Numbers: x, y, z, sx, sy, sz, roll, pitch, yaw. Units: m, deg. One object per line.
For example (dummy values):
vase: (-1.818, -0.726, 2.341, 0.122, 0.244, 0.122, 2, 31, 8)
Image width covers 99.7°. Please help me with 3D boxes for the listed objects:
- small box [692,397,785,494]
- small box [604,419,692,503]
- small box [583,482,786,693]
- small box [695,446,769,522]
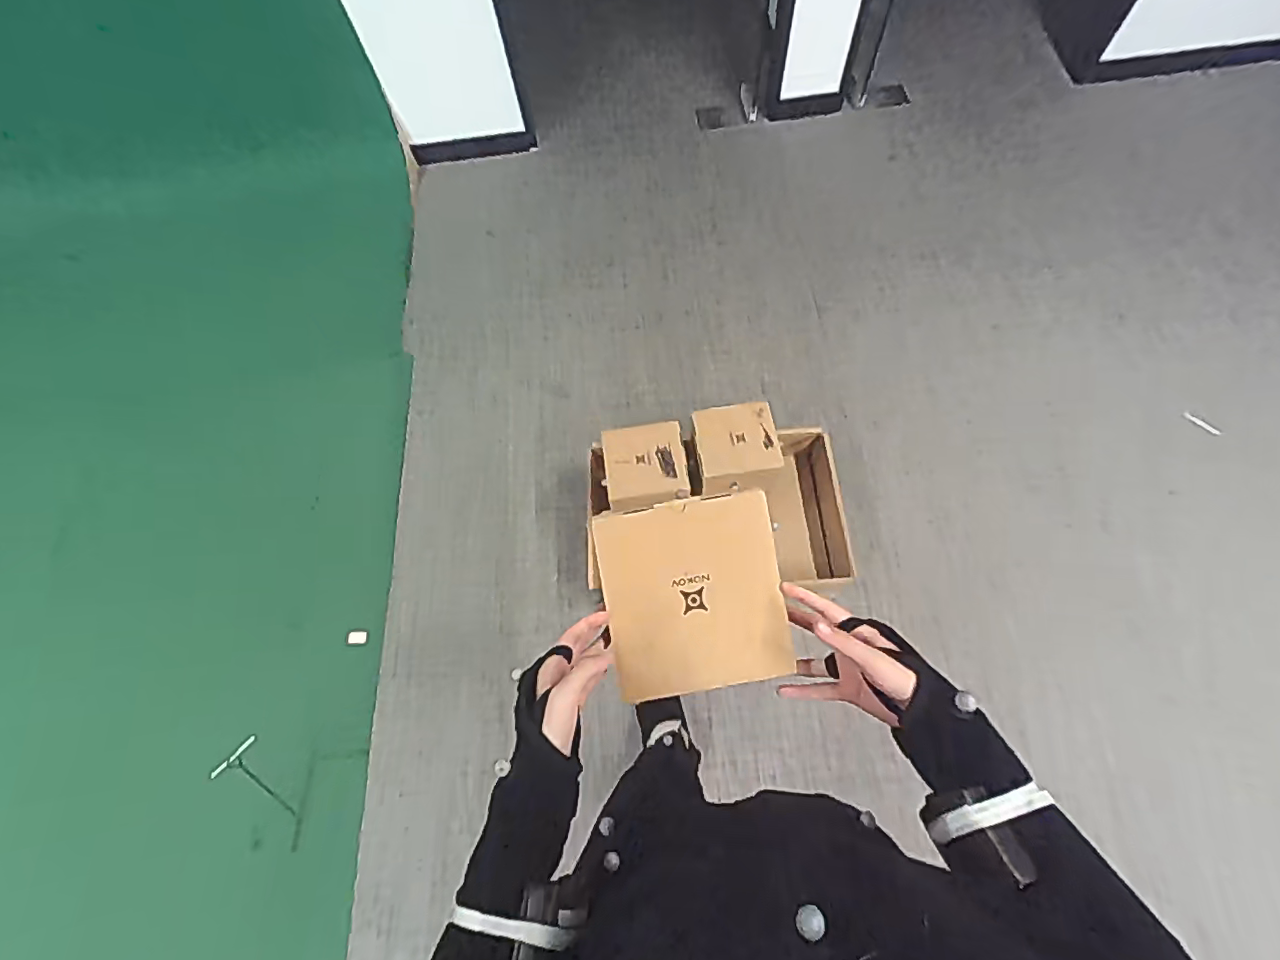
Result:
small box: (0.220, -0.065, 1.236, 0.179, 0.176, 0.168, -9, 67, 3)
small box: (0.018, -0.020, 1.234, 0.179, 0.176, 0.168, -8, 68, 1)
small box: (0.043, 0.103, 0.577, 0.168, 0.176, 0.179, -10, 86, 1)
small box: (0.228, 0.015, 1.381, 0.168, 0.176, 0.179, -5, 68, 5)
